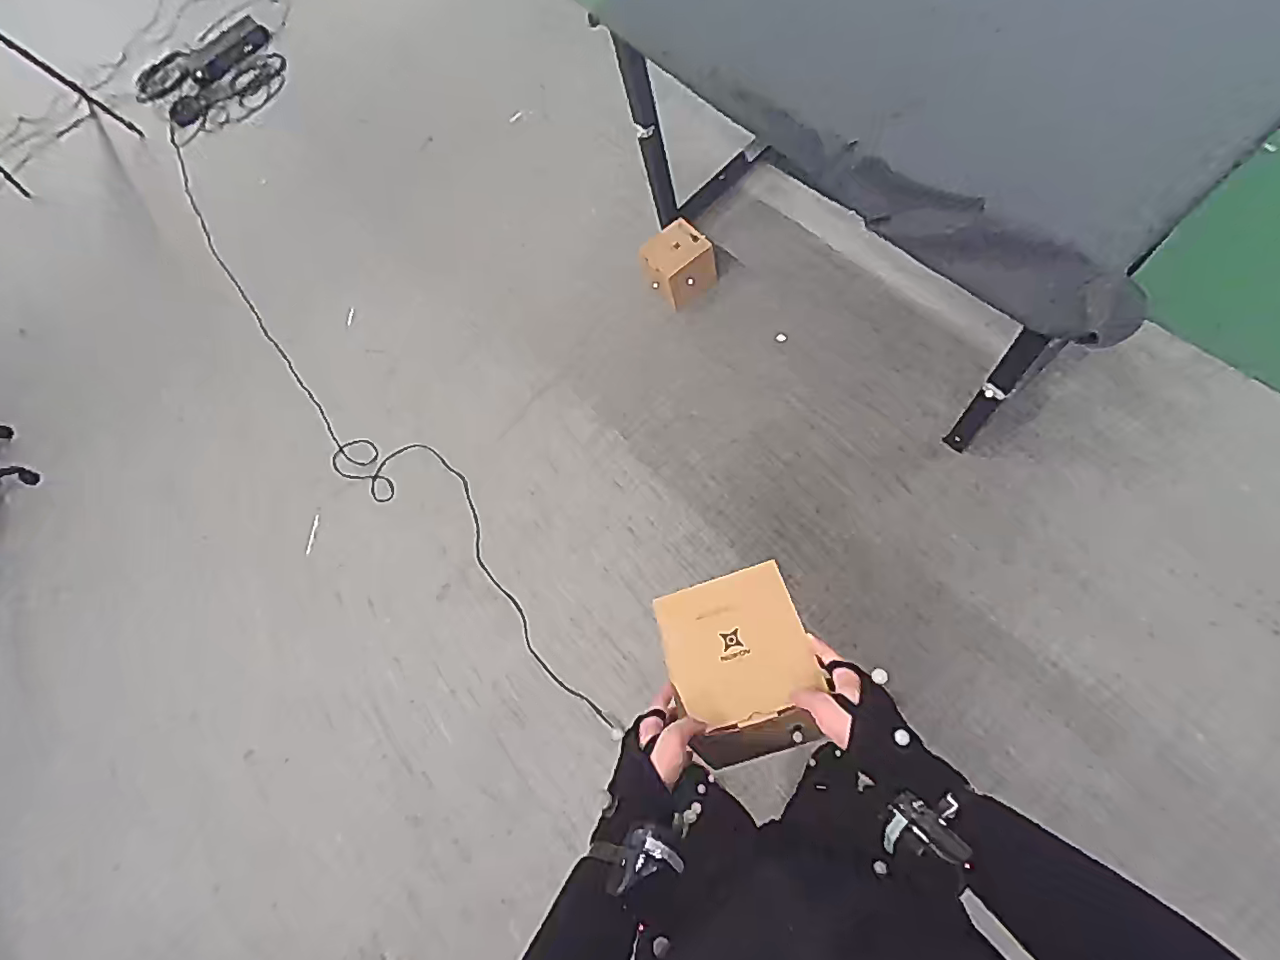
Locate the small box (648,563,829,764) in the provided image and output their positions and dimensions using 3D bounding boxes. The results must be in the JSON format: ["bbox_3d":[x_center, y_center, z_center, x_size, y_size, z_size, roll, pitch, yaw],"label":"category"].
[{"bbox_3d":[0.126,0.240,0.683,0.168,0.176,0.179,-20,47,6],"label":"small box"}]
